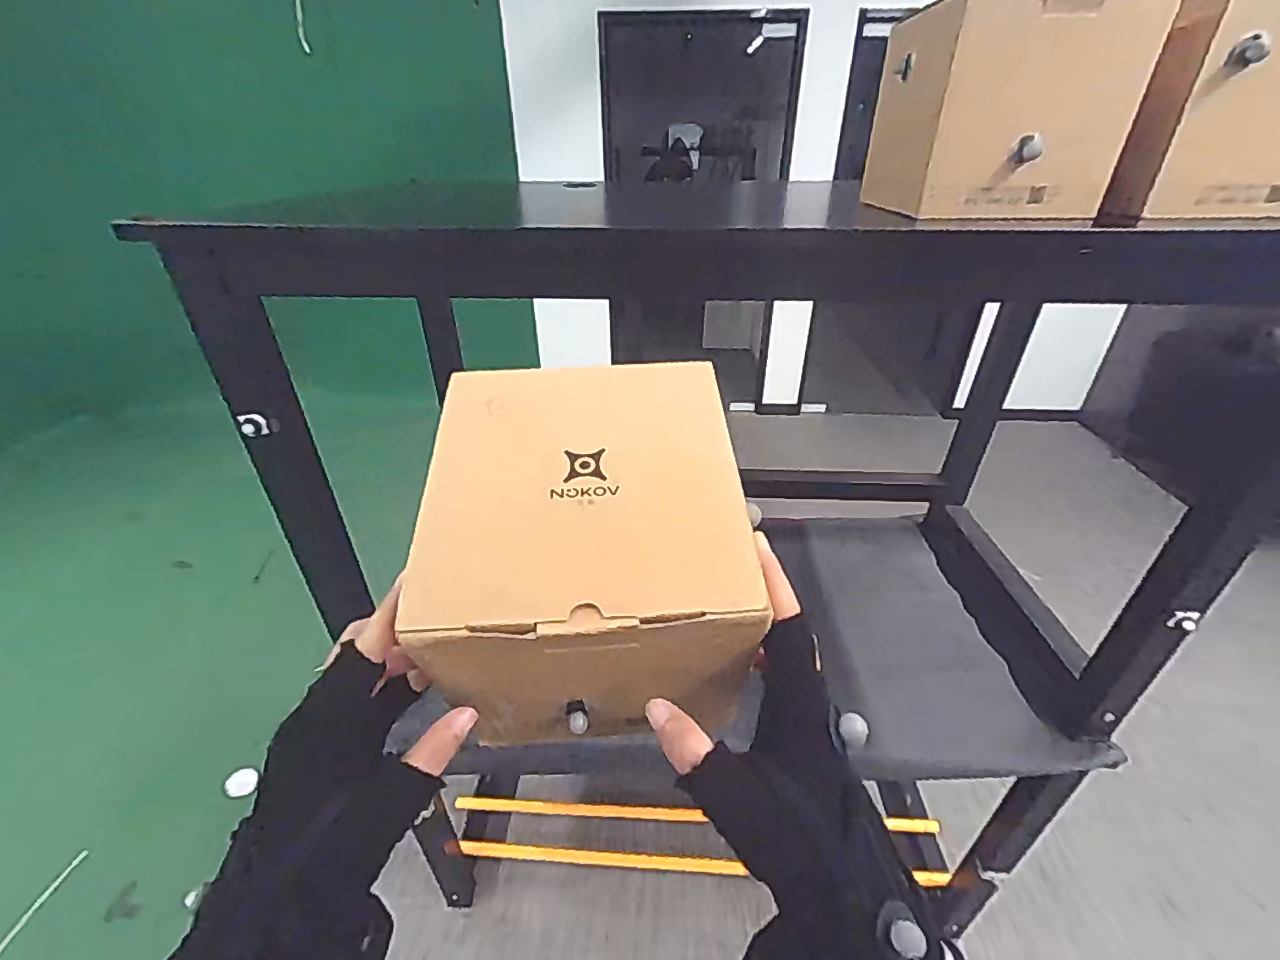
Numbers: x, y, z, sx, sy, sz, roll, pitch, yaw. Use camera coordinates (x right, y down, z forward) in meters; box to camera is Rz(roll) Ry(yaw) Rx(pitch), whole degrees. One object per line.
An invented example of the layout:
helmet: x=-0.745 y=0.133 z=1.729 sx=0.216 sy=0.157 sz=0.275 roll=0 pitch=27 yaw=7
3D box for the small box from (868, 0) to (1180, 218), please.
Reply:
small box: x=0.343 y=-0.361 z=0.530 sx=0.168 sy=0.176 sz=0.179 roll=1 pitch=32 yaw=2

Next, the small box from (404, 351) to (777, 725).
small box: x=-0.027 y=0.039 z=0.348 sx=0.168 sy=0.176 sz=0.179 roll=-3 pitch=51 yaw=-3
